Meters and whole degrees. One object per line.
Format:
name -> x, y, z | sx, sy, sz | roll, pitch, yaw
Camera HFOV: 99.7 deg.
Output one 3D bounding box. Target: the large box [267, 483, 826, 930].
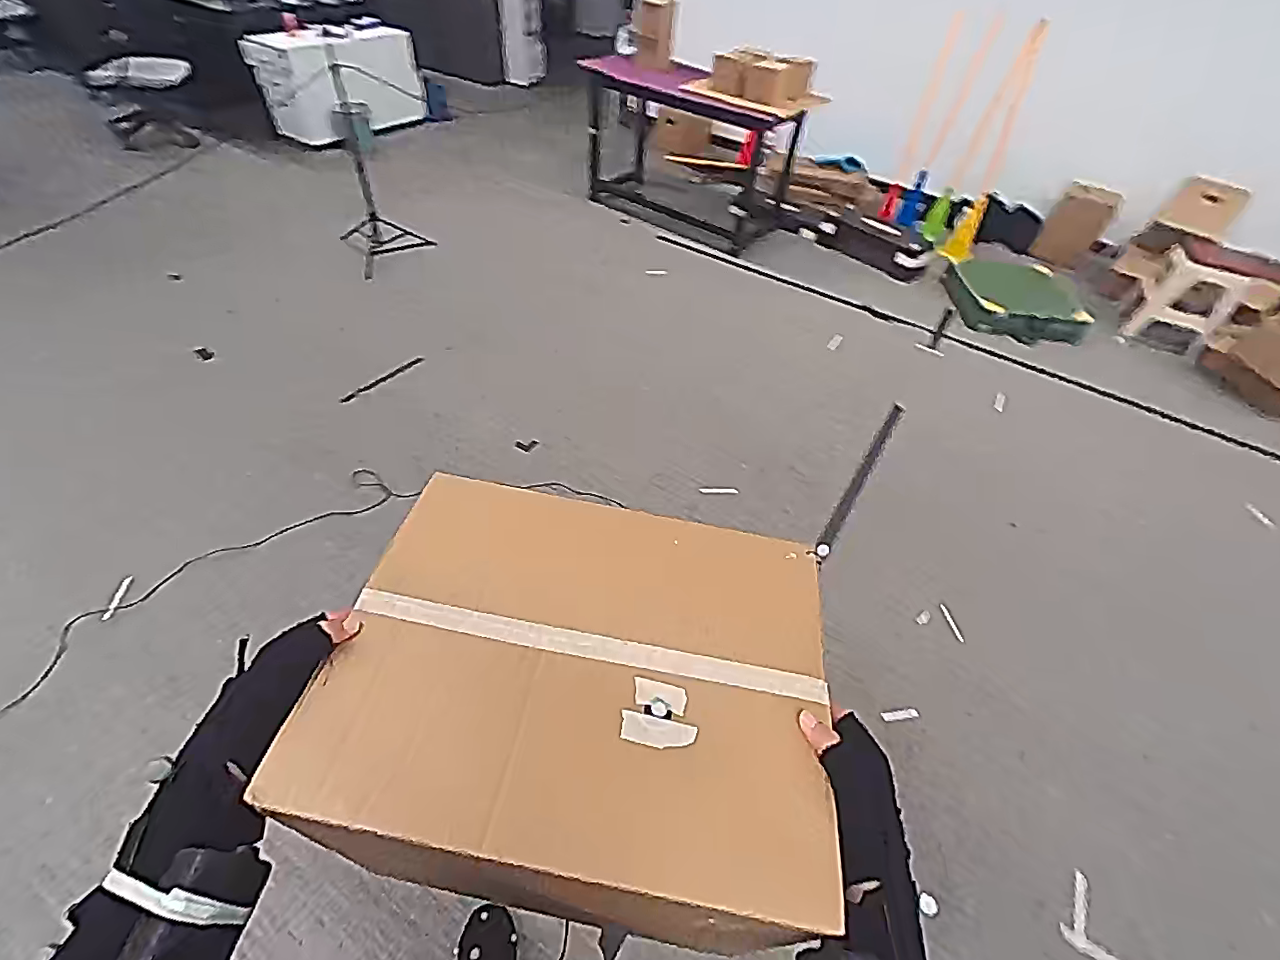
large box -> -0.064, 0.245, 0.581 | 0.408, 0.320, 0.320 | 11, 48, 1
